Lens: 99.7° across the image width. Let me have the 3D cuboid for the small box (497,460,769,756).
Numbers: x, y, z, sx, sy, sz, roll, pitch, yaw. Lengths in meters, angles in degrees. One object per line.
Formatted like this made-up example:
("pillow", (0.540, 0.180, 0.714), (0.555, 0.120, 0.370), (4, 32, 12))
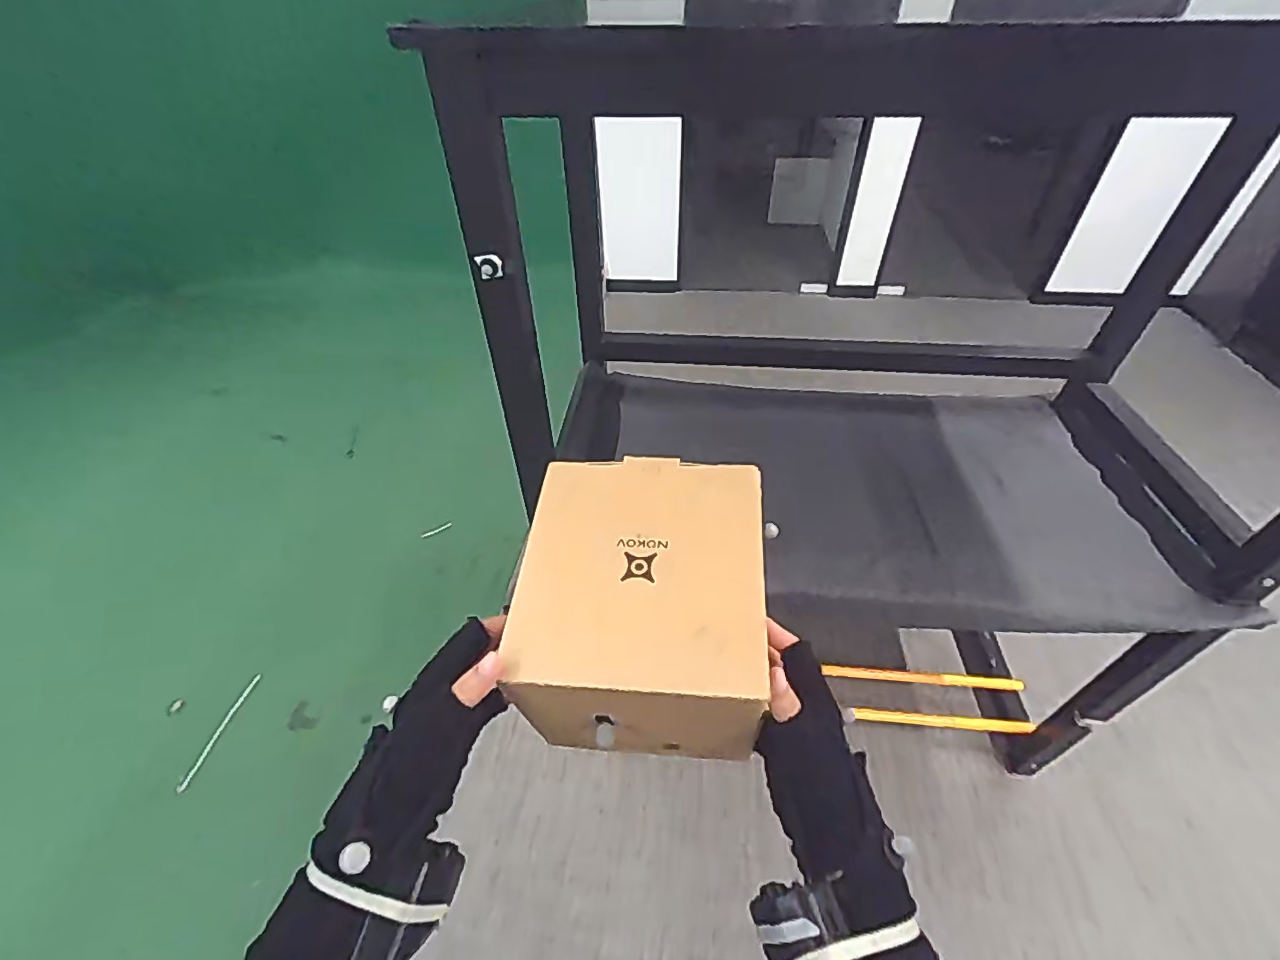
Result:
("small box", (0.009, 0.103, 0.427), (0.168, 0.176, 0.179), (1, 50, 7))
